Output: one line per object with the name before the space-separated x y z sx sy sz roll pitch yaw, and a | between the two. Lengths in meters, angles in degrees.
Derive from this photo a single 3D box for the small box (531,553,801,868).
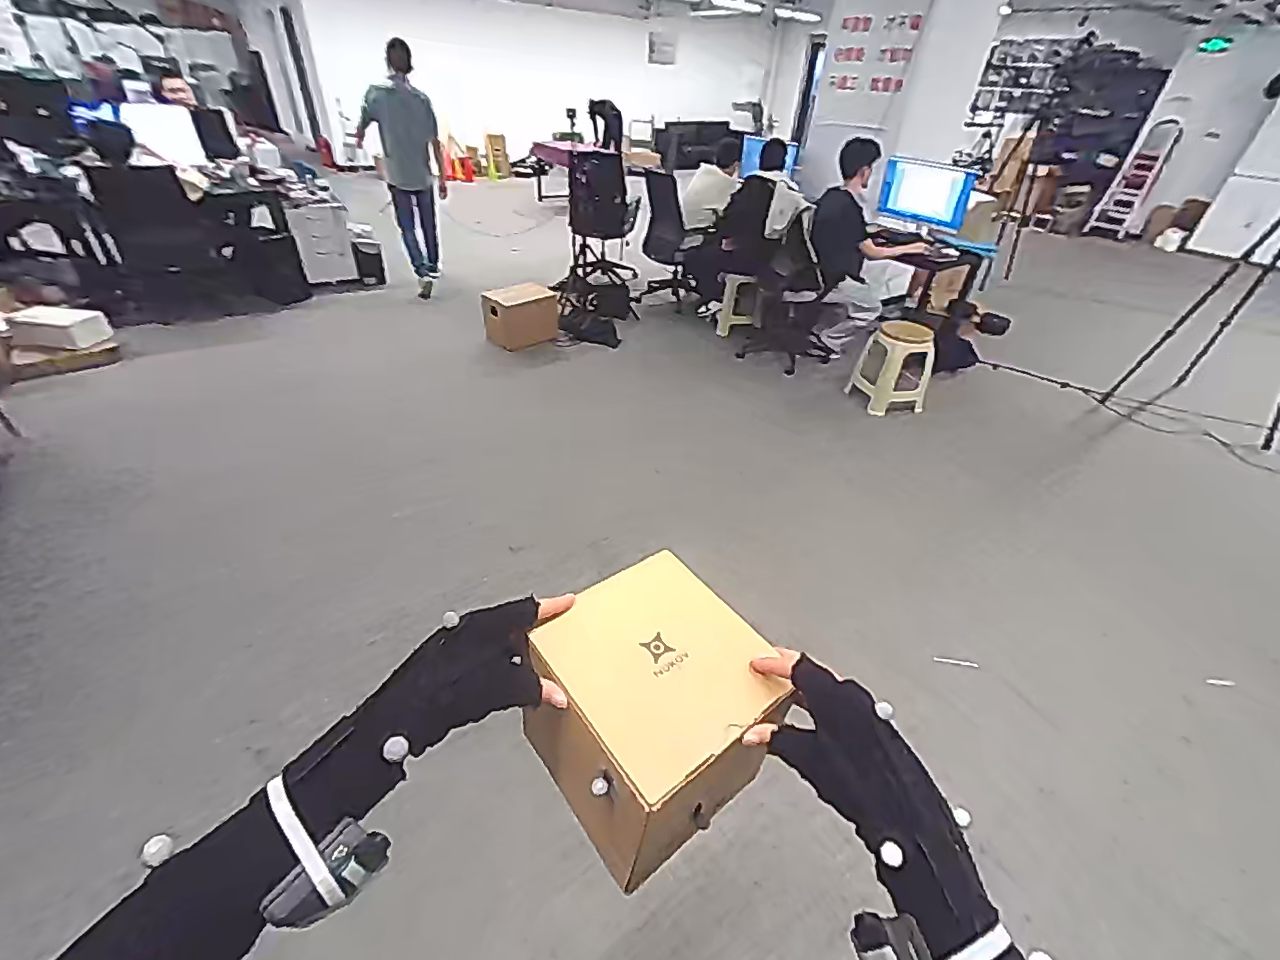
small box | 0.009 0.205 0.501 0.168 0.176 0.179 -21 47 -34
